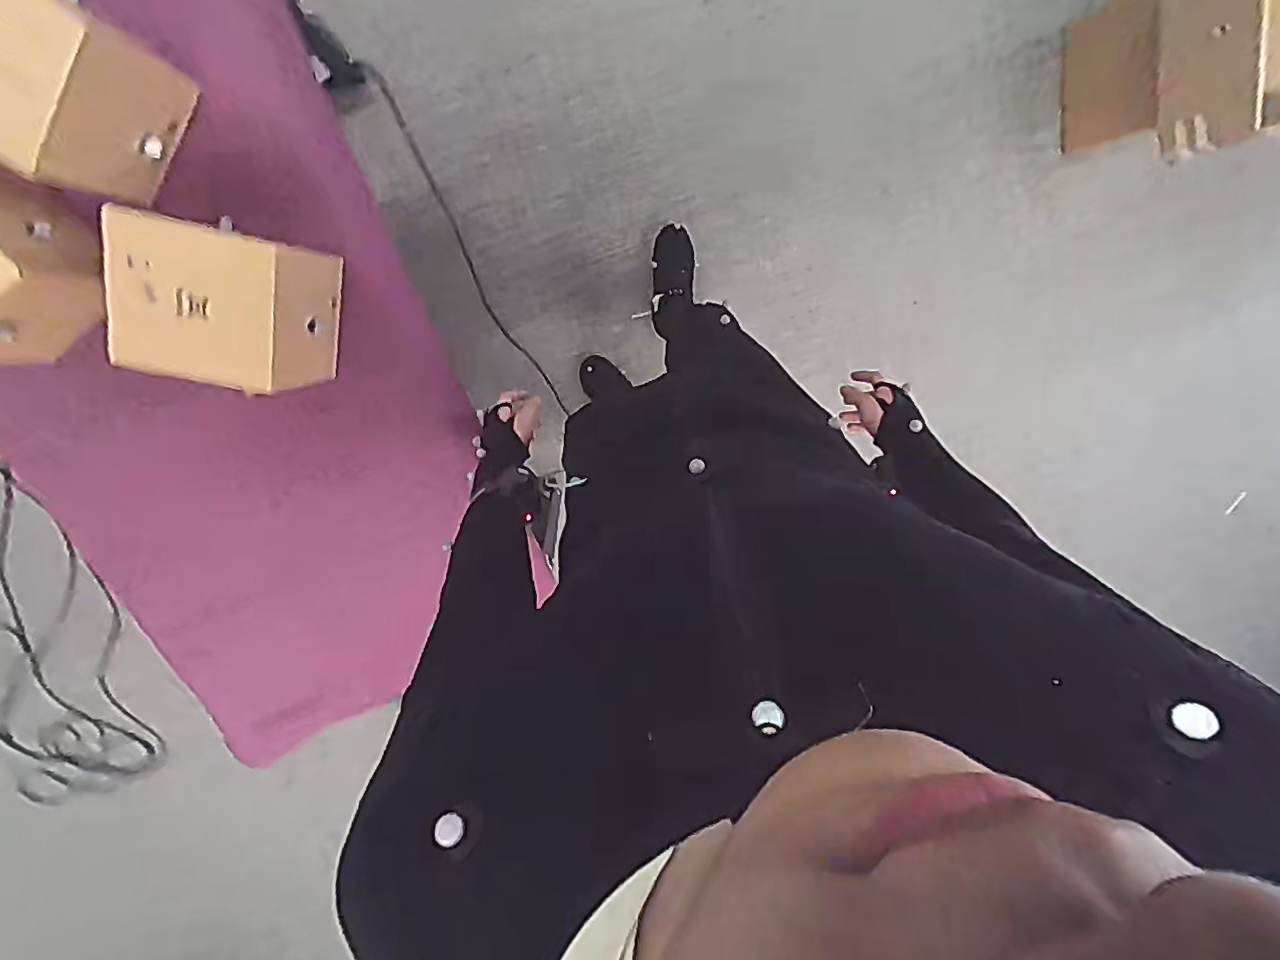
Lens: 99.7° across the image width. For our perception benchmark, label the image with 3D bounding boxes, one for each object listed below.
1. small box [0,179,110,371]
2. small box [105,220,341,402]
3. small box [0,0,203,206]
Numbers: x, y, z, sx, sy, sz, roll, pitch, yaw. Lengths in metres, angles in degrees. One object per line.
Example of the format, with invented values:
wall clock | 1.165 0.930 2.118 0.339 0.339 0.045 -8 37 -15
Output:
small box | -0.780 -0.244 0.641 0.179 0.176 0.168 -36 107 6
small box | -0.498 -0.205 0.674 0.179 0.176 0.168 10 105 -8
small box | -0.649 -0.432 0.594 0.179 0.176 0.168 33 102 -15
